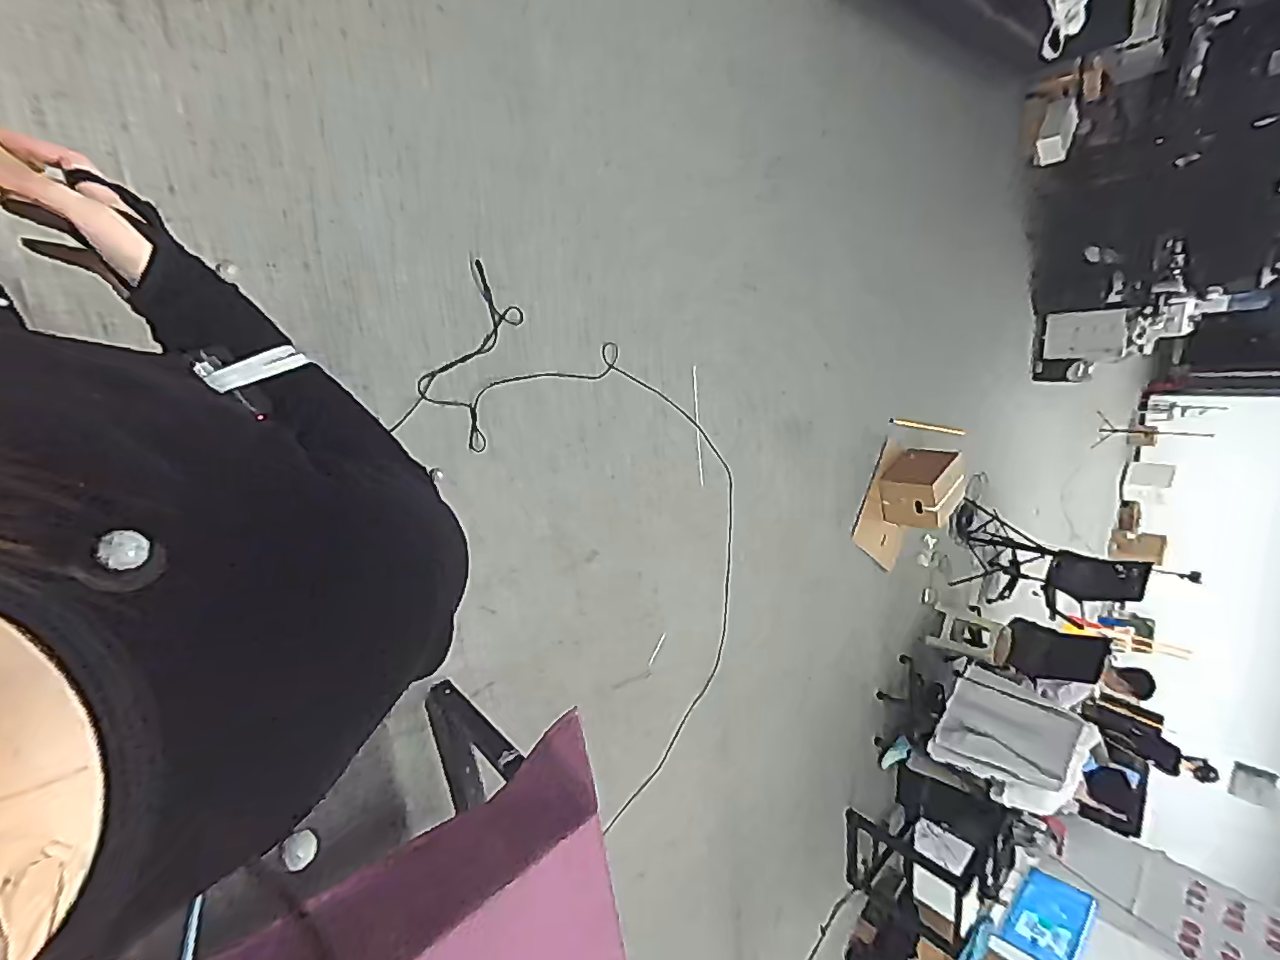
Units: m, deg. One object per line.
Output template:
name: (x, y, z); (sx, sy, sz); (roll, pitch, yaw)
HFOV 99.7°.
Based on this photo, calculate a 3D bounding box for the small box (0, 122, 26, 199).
small box: (-0.506, -0.187, 0.286); (0.179, 0.176, 0.168); (-37, 137, -3)
